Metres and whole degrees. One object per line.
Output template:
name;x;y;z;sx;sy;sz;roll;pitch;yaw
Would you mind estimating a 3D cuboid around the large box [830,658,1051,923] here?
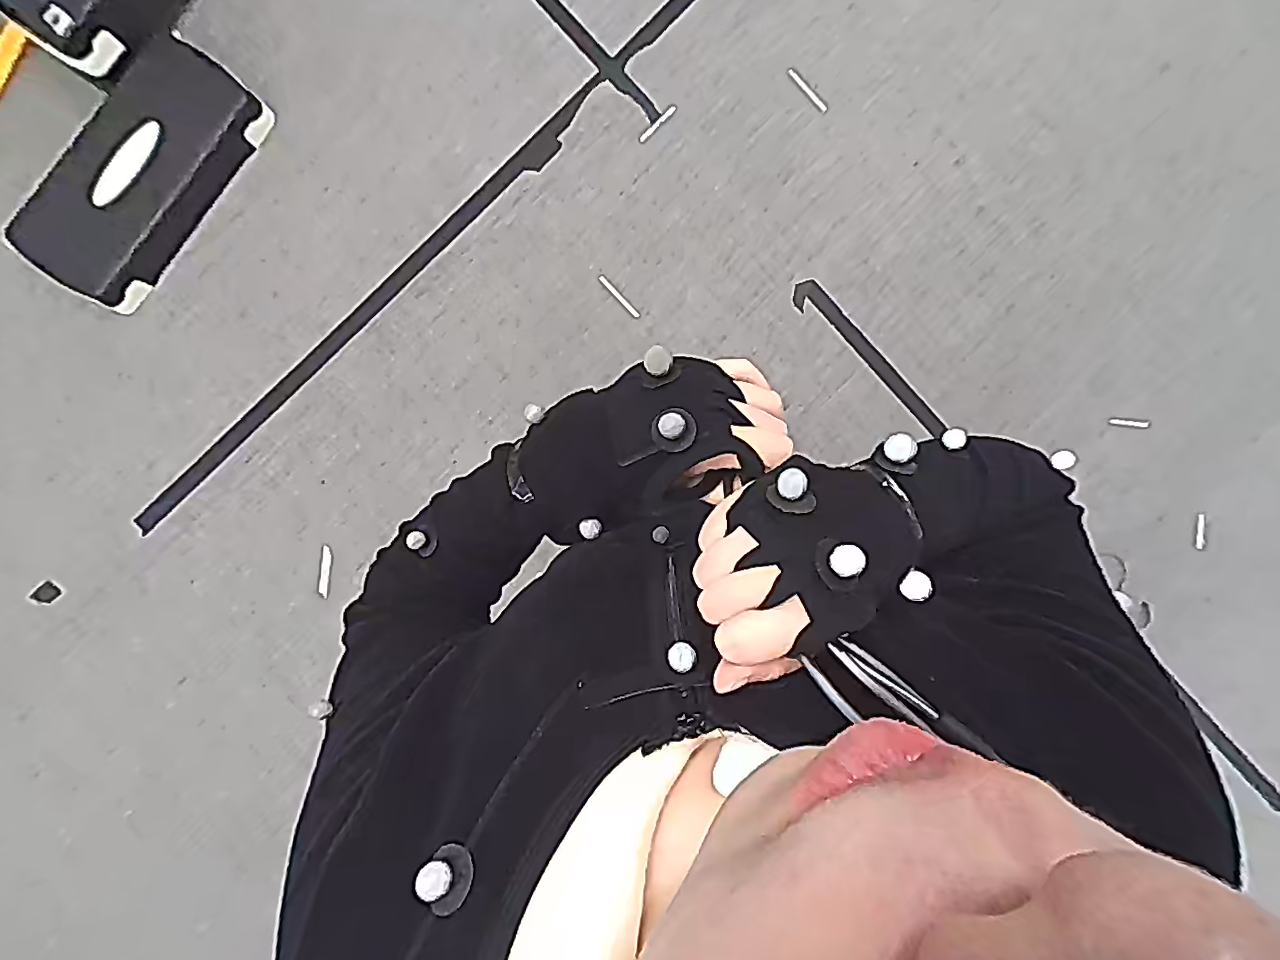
large box;0.655;0.667;1.228;0.320;0.320;0.408;-5;92;-3
